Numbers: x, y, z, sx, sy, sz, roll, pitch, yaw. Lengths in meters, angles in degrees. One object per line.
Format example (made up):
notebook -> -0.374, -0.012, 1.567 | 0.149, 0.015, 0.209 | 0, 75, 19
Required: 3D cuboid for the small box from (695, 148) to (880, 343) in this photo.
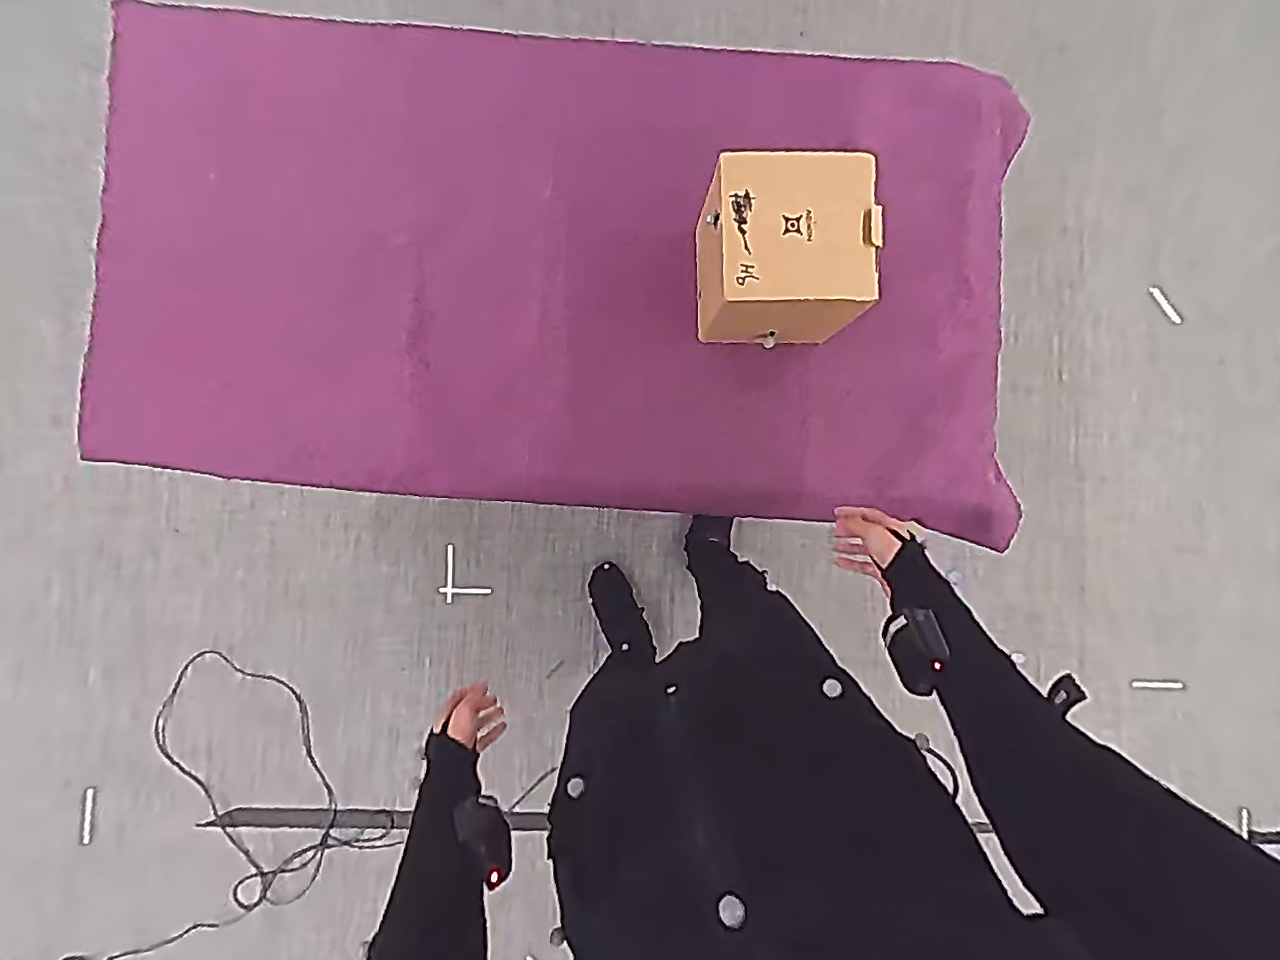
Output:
small box -> 0.169, -0.274, 0.665 | 0.179, 0.176, 0.168 | -1, 88, -4
